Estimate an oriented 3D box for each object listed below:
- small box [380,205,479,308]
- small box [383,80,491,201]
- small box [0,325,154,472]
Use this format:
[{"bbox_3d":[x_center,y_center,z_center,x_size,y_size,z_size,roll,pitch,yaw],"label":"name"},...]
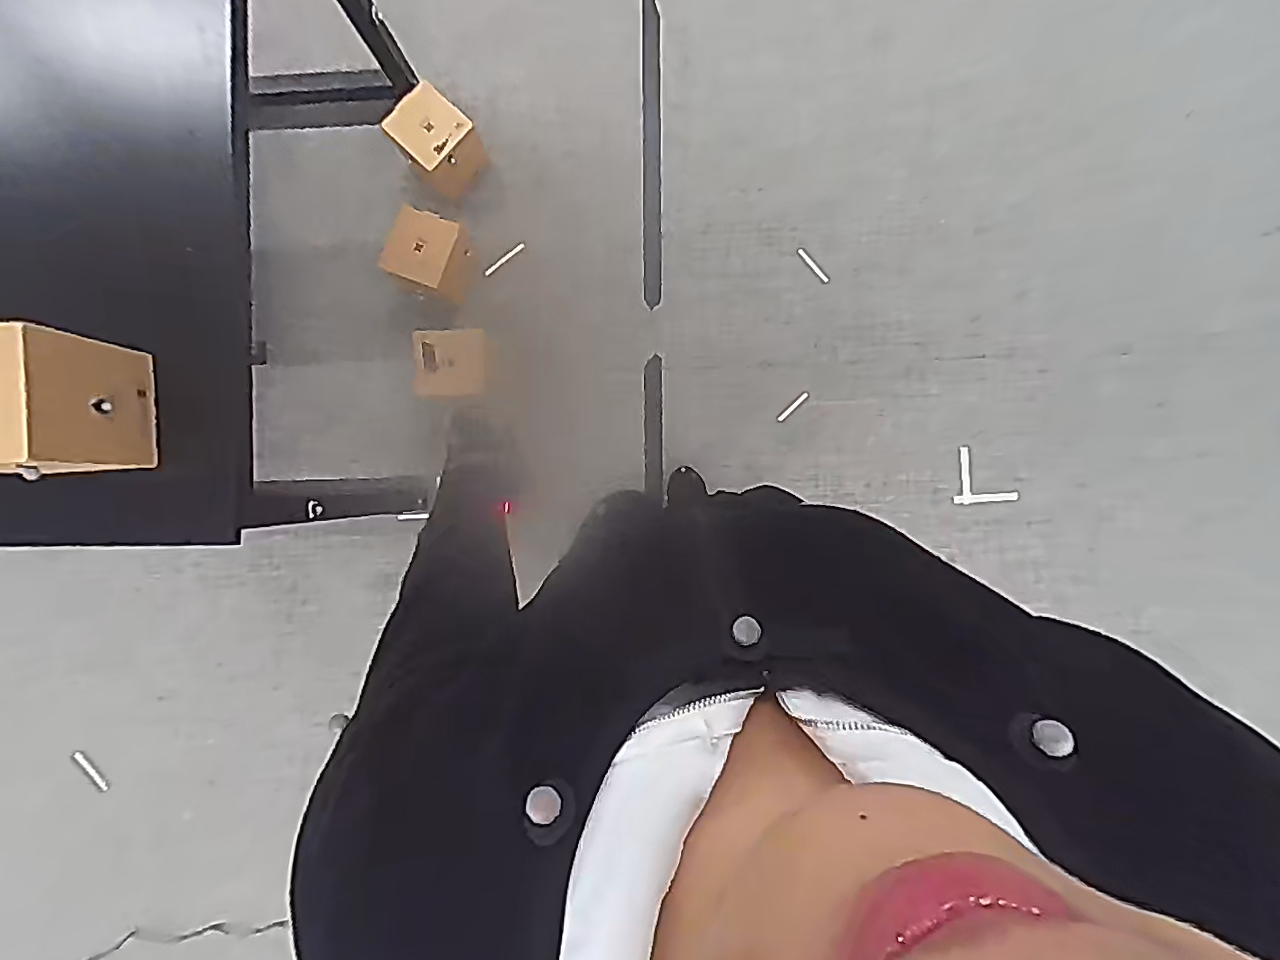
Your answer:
[{"bbox_3d":[-0.549,-0.588,1.440,0.168,0.176,0.179,20,91,2],"label":"small box"},{"bbox_3d":[-0.532,-0.891,1.437,0.179,0.176,0.168,43,91,1],"label":"small box"},{"bbox_3d":[-0.791,-0.097,0.712,0.179,0.176,0.168,-3,89,2],"label":"small box"}]
